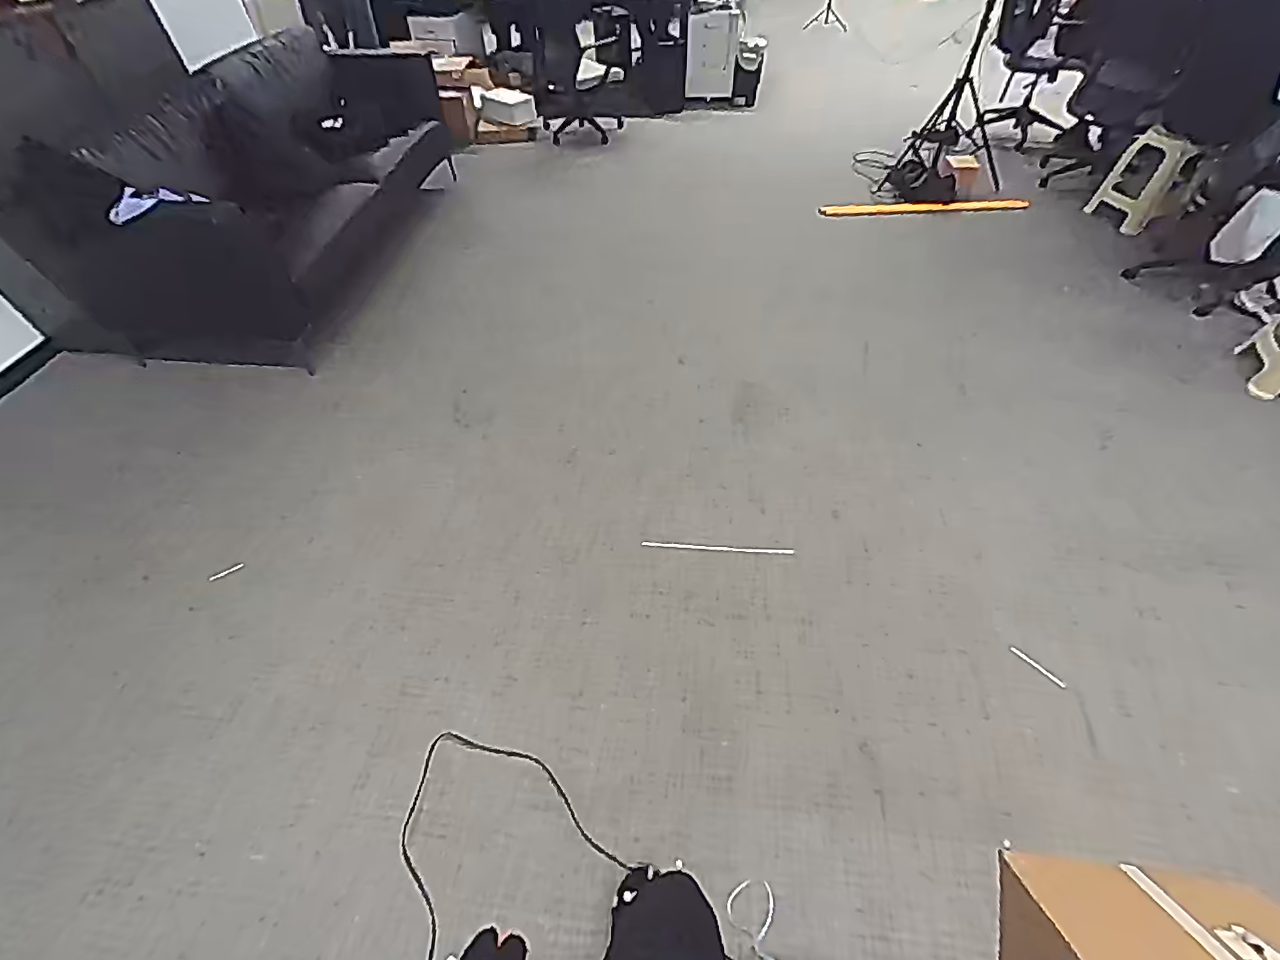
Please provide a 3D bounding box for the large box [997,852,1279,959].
[{"bbox_3d":[0.633,0.687,0.562,0.320,0.408,0.320,2,89,10],"label":"large box"}]
